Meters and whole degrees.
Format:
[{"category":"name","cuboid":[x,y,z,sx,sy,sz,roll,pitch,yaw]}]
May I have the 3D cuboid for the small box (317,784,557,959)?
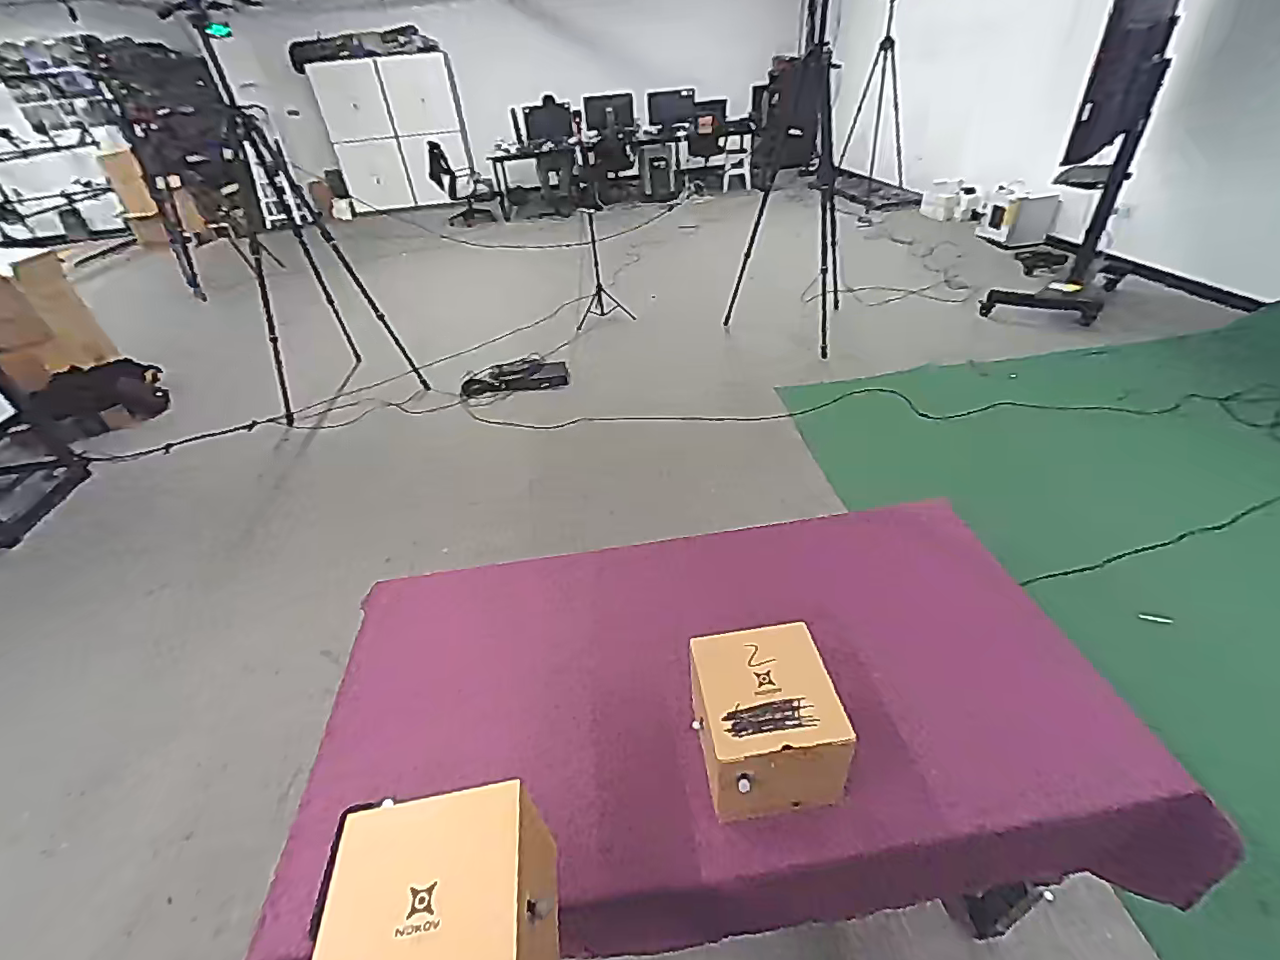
[{"category":"small box","cuboid":[-0.174,0.421,0.503,0.168,0.176,0.179,-9,39,-3]}]
